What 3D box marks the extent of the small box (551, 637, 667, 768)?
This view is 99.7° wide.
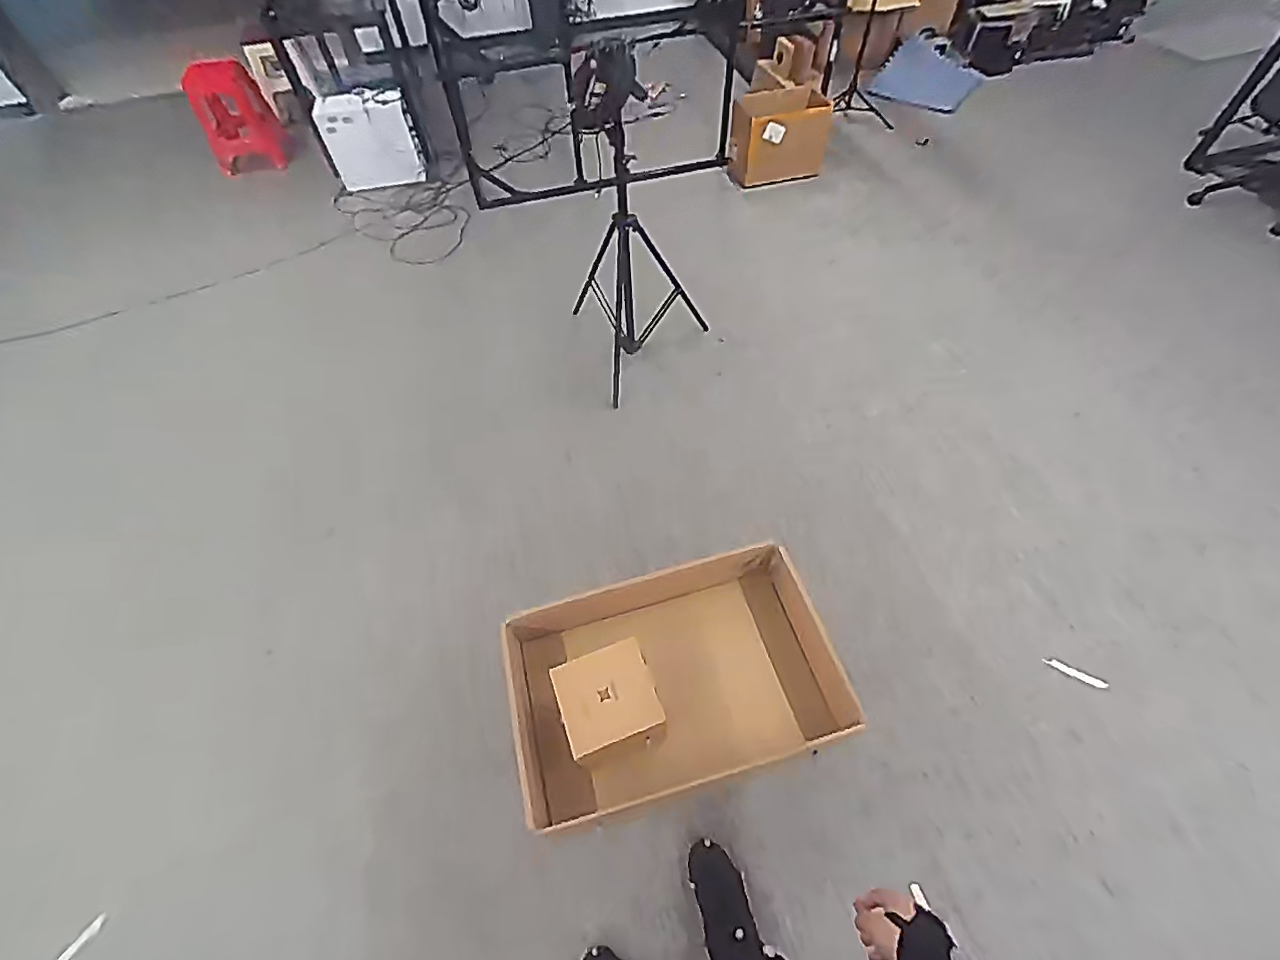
[{"bbox_3d":[-0.057,0.433,1.046,0.179,0.176,0.168,-19,56,-9],"label":"small box"}]
